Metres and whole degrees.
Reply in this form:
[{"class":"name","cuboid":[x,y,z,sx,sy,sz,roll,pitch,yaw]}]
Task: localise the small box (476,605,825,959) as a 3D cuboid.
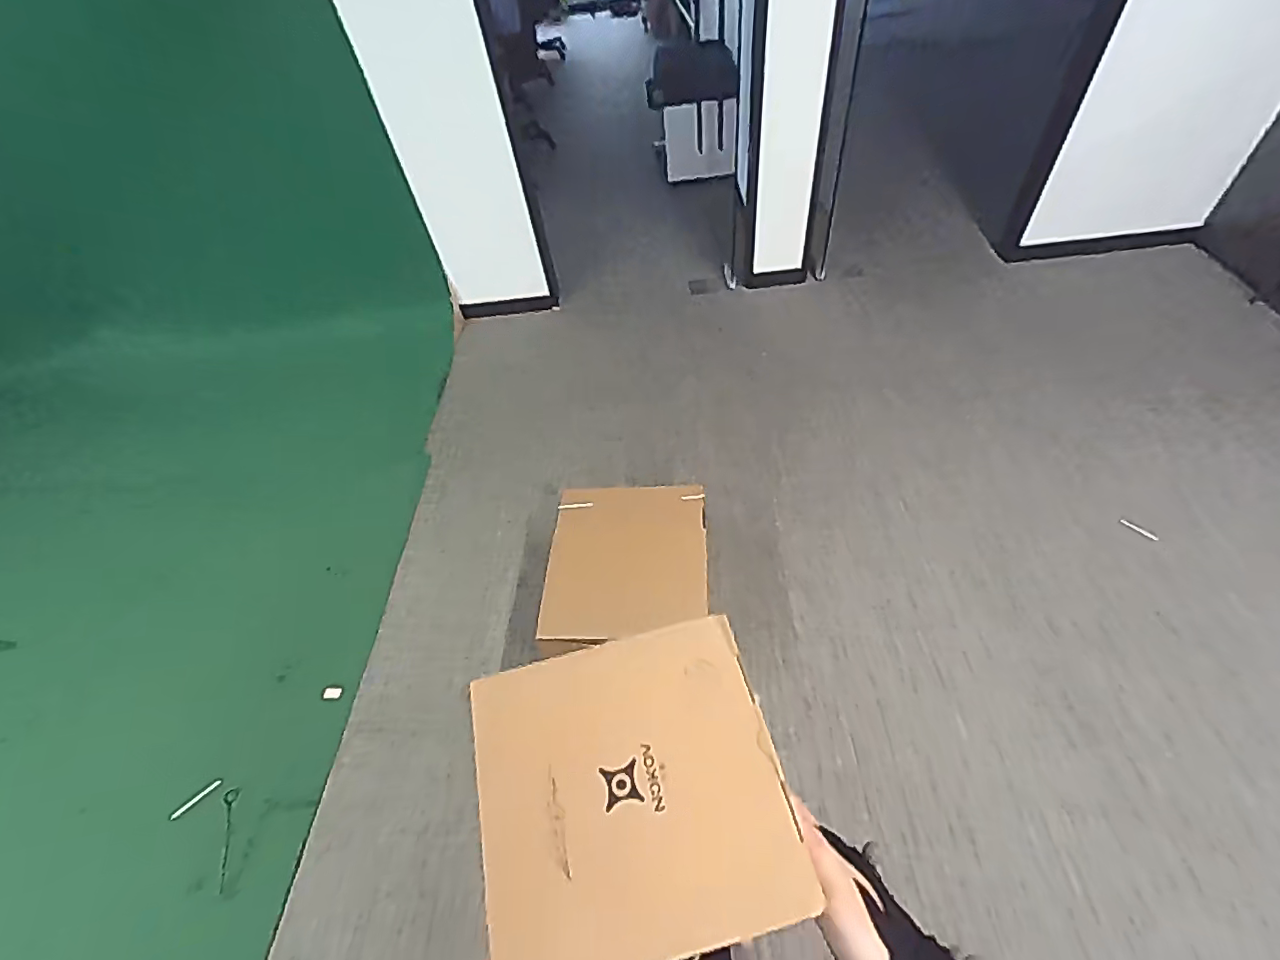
[{"class":"small box","cuboid":[0.001,0.211,0.382,0.179,0.176,0.168,-14,57,-3]}]
